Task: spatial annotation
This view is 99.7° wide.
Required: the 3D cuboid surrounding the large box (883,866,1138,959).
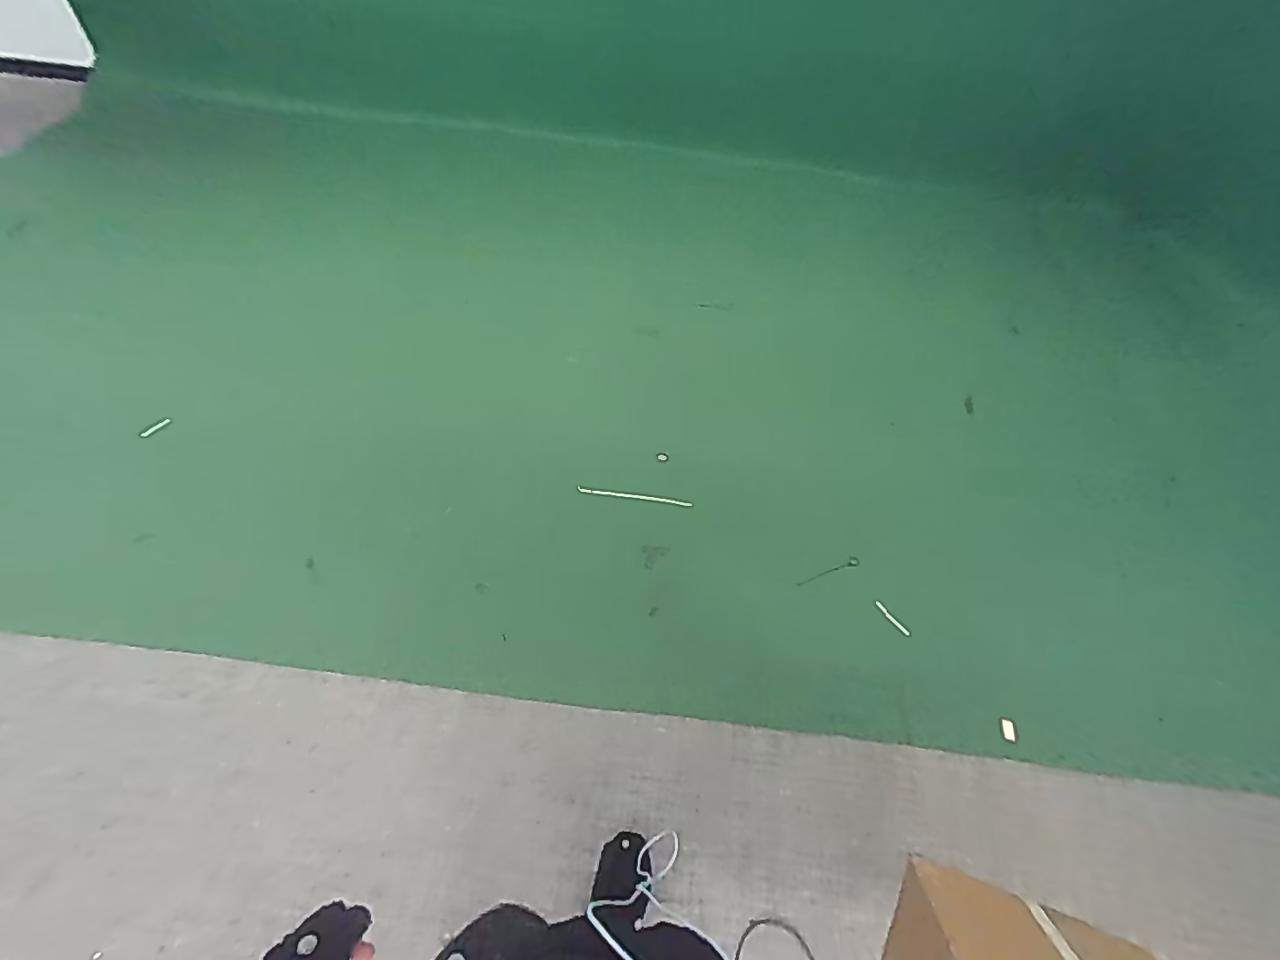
[{"bbox_3d":[0.454,0.737,0.567,0.320,0.408,0.320,18,89,13],"label":"large box"}]
